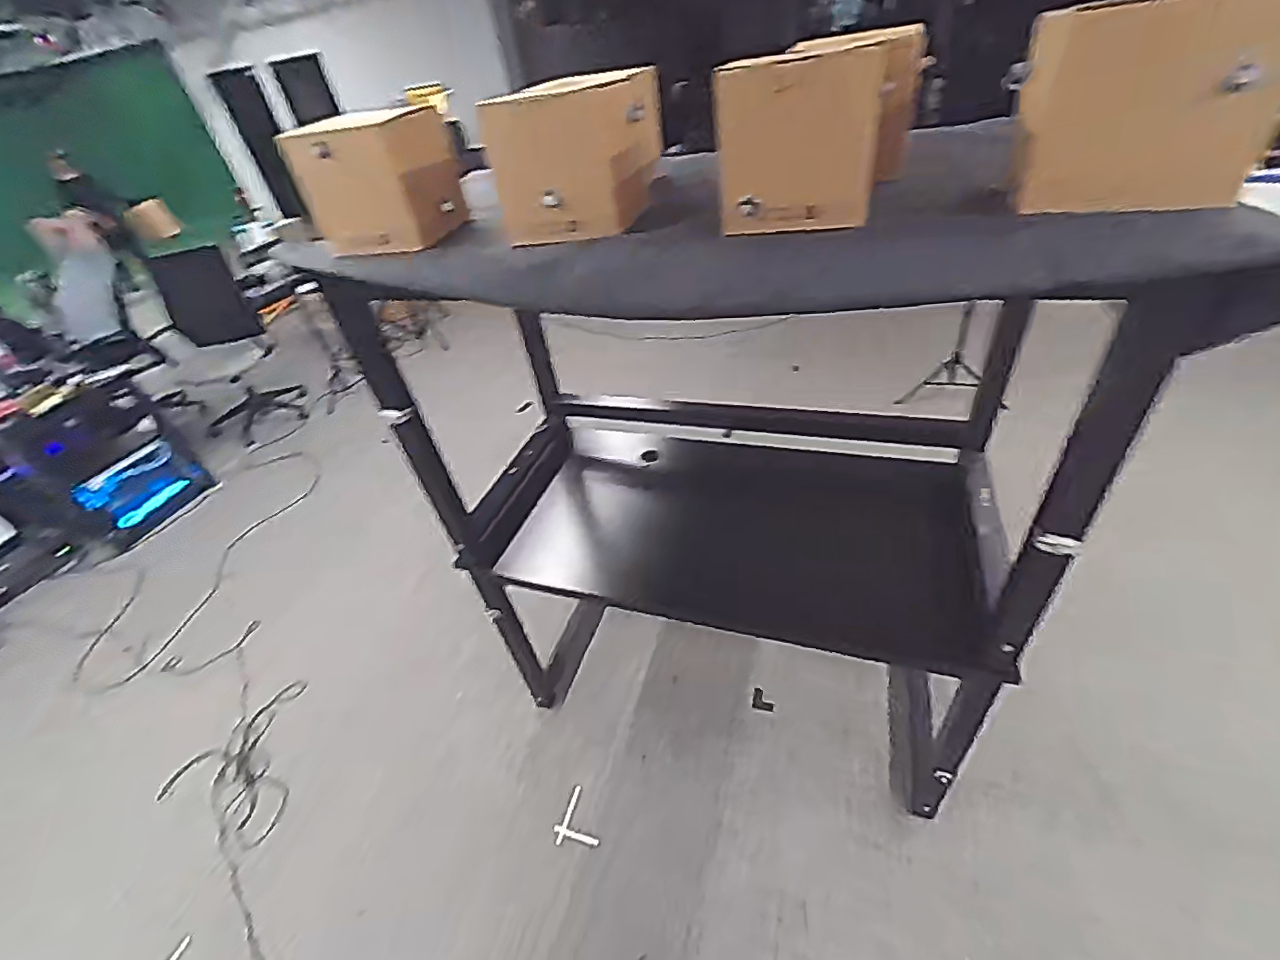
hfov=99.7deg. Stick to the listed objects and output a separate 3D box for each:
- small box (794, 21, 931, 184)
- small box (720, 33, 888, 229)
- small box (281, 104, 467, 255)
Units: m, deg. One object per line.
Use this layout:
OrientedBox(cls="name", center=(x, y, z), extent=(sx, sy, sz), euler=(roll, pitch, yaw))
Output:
OrientedBox(cls="small box", center=(0.315, -0.545, 0.789), extent=(0.168, 0.176, 0.179), euler=(7, 43, 20))
OrientedBox(cls="small box", center=(0.198, -0.408, 0.646), extent=(0.168, 0.176, 0.179), euler=(6, 40, 19))
OrientedBox(cls="small box", center=(-0.391, -0.462, 0.837), extent=(0.168, 0.176, 0.179), euler=(2, 41, 14))
